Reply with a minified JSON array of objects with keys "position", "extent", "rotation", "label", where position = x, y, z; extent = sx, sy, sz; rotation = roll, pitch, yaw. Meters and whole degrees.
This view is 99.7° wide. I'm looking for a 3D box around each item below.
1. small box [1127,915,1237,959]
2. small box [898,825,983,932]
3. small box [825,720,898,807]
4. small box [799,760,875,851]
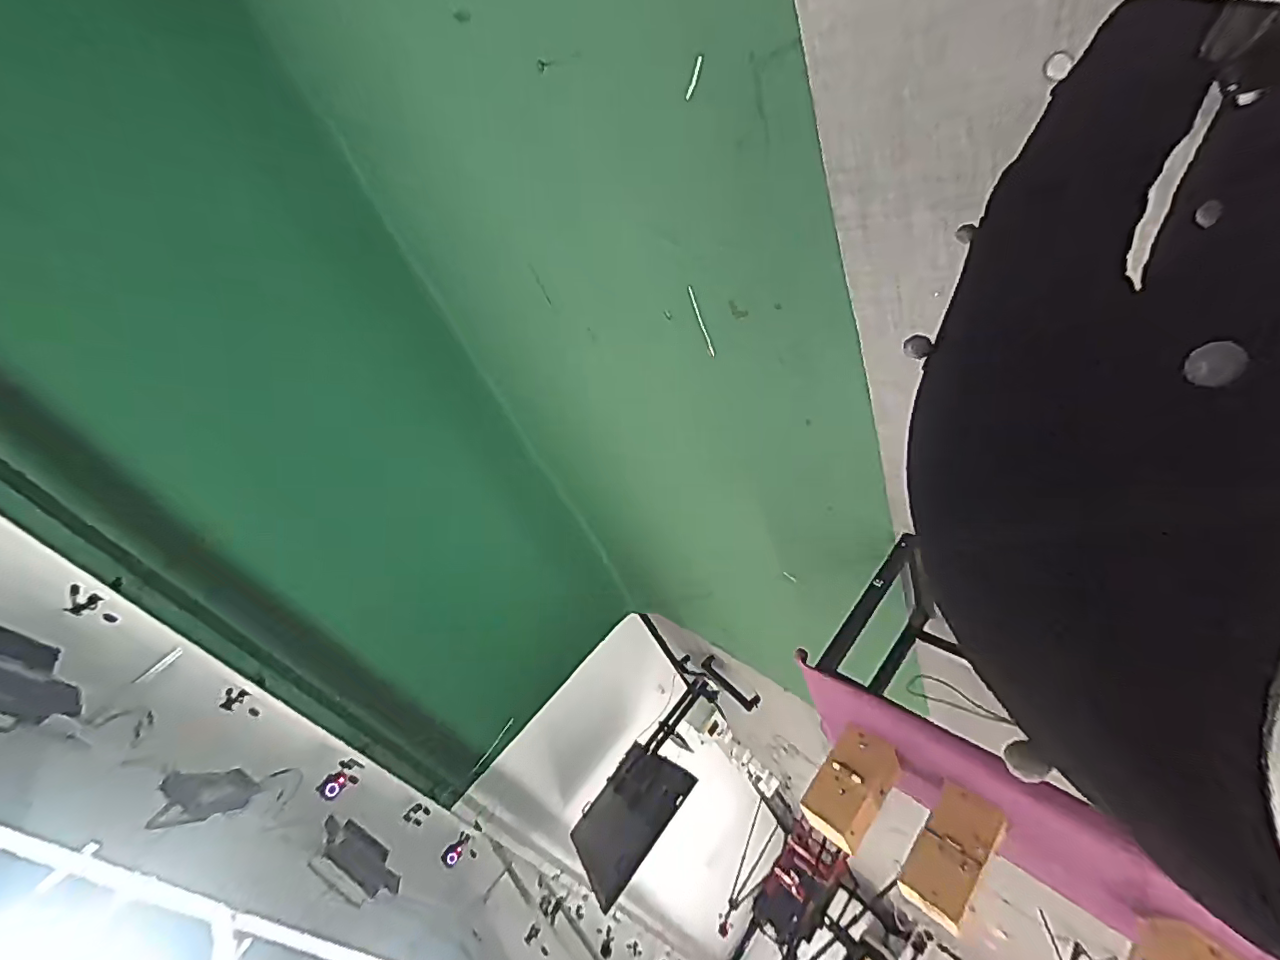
[{"position":[1.306,1.182,1.288],"extent":[0.168,0.176,0.179],"rotation":[32,154,29],"label":"small box"},{"position":[0.874,1.149,1.570],"extent":[0.168,0.176,0.179],"rotation":[20,148,46],"label":"small box"},{"position":[0.771,0.975,1.869],"extent":[0.168,0.176,0.179],"rotation":[16,144,47],"label":"small box"},{"position":[0.665,1.084,1.809],"extent":[0.168,0.176,0.179],"rotation":[17,144,47],"label":"small box"}]
